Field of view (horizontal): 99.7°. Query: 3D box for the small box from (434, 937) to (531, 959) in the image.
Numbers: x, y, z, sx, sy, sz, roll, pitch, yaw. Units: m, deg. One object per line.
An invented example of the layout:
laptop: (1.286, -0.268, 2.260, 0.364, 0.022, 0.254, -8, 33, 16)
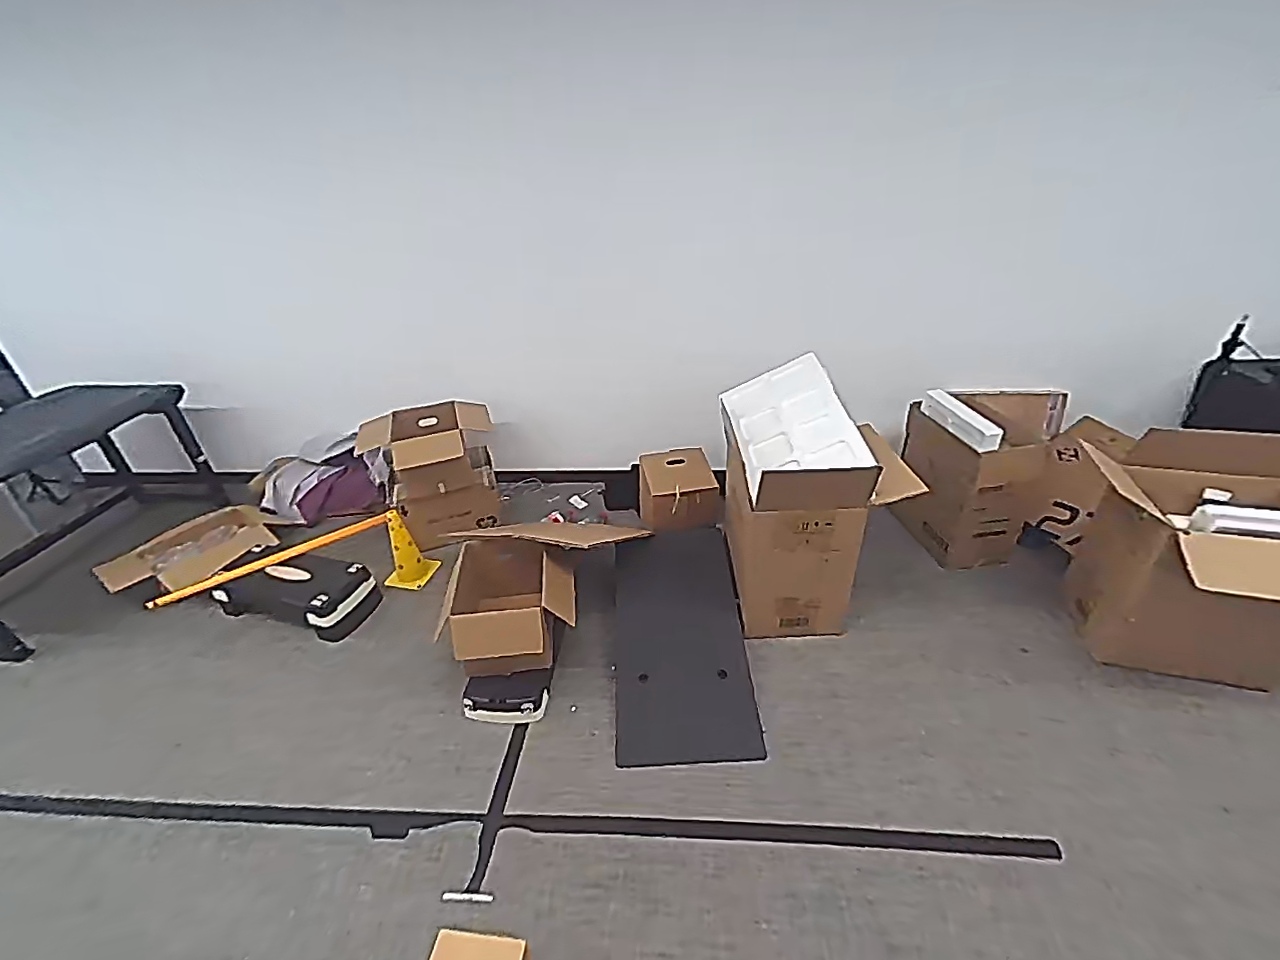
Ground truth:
small box: (-0.286, 0.941, 0.934, 0.168, 0.176, 0.179, 2, 32, 7)
